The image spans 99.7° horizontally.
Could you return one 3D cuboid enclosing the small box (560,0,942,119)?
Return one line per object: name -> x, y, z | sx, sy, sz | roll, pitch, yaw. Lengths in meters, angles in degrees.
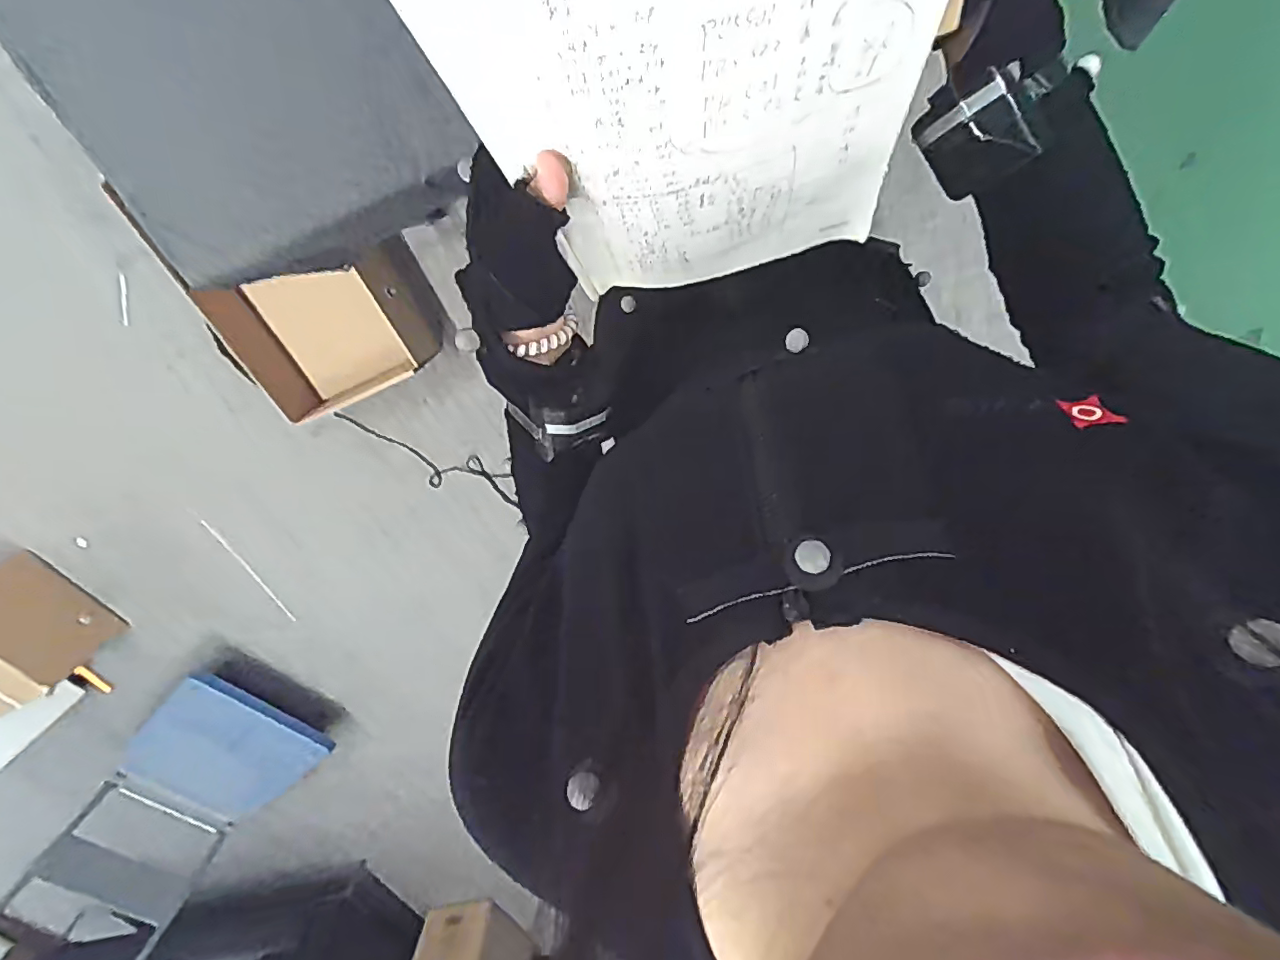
small box -> 0.030, -0.304, 0.241 | 0.168, 0.176, 0.179 | -14, 136, 7
